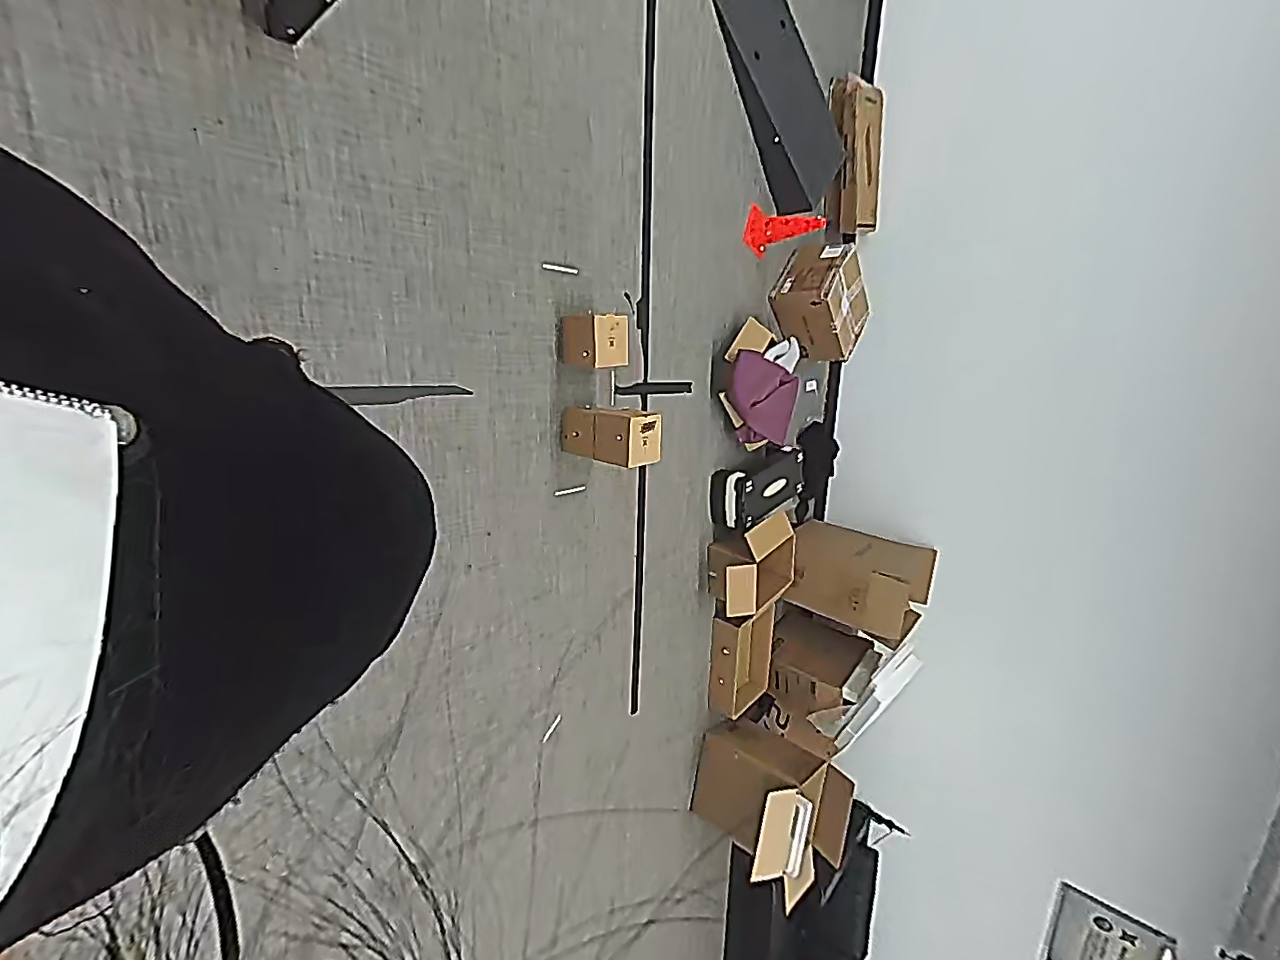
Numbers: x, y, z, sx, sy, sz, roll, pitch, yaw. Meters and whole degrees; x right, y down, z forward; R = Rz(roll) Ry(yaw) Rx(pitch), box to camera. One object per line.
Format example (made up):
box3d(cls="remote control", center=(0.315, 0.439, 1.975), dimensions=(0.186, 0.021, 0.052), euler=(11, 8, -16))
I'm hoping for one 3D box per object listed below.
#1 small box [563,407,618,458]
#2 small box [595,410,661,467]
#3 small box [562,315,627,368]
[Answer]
box3d(cls="small box", center=(-0.170, -0.179, 2.010), dimensions=(0.179, 0.176, 0.168), euler=(-11, 109, -47))
box3d(cls="small box", center=(-0.045, -0.153, 1.904), dimensions=(0.168, 0.176, 0.179), euler=(-14, 112, -47))
box3d(cls="small box", center=(-0.162, -0.496, 1.924), dimensions=(0.168, 0.176, 0.179), euler=(-17, 113, -46))
